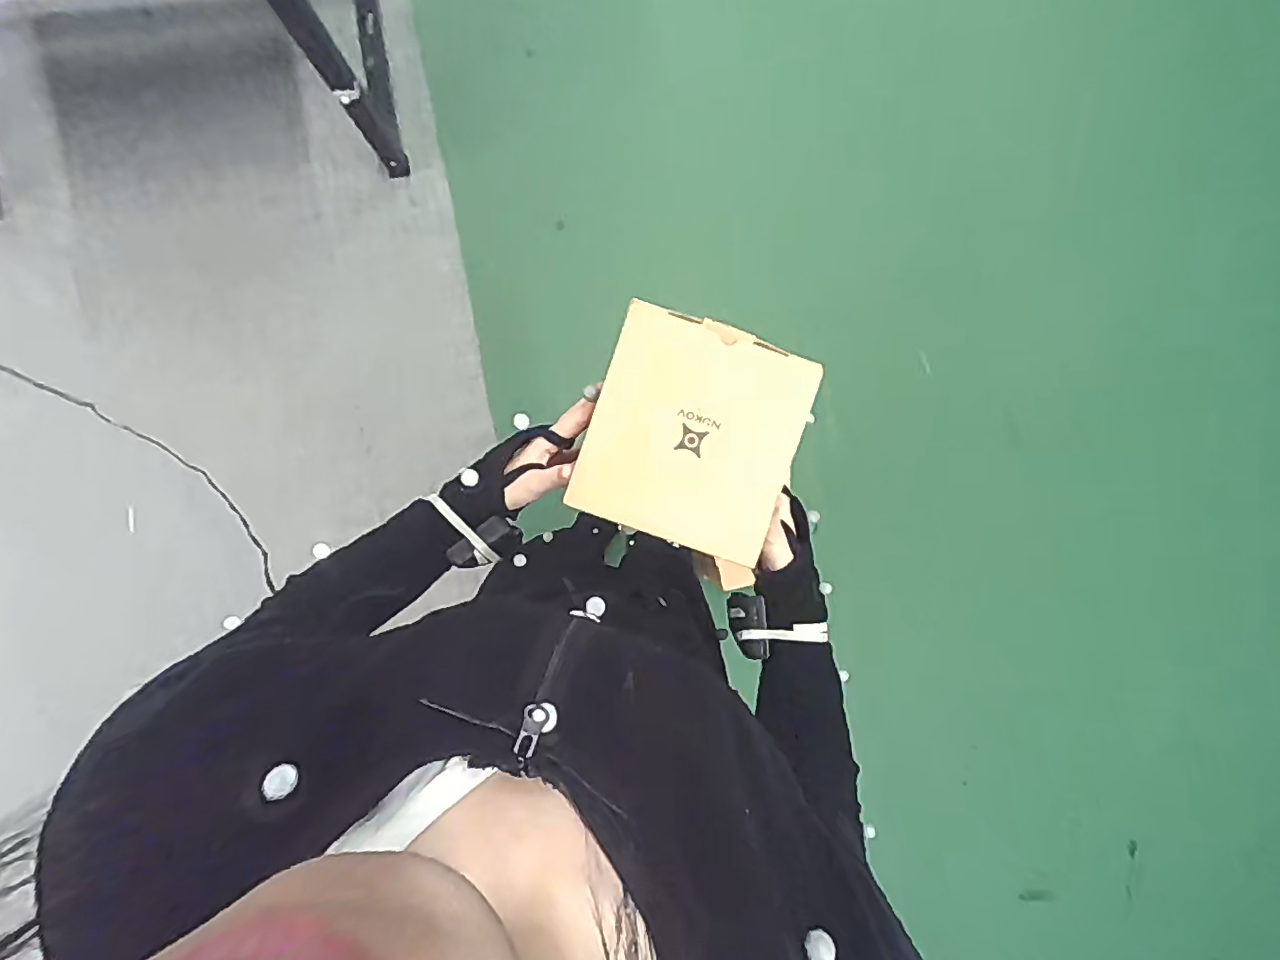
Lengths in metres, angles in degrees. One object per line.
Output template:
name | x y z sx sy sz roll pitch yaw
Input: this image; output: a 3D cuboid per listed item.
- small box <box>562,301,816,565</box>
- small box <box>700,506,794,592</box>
small box | 0.039 -0.039 0.518 0.168 0.176 0.179 19 90 -2
small box | 0.241 0.154 1.289 0.179 0.176 0.168 -13 89 -4
